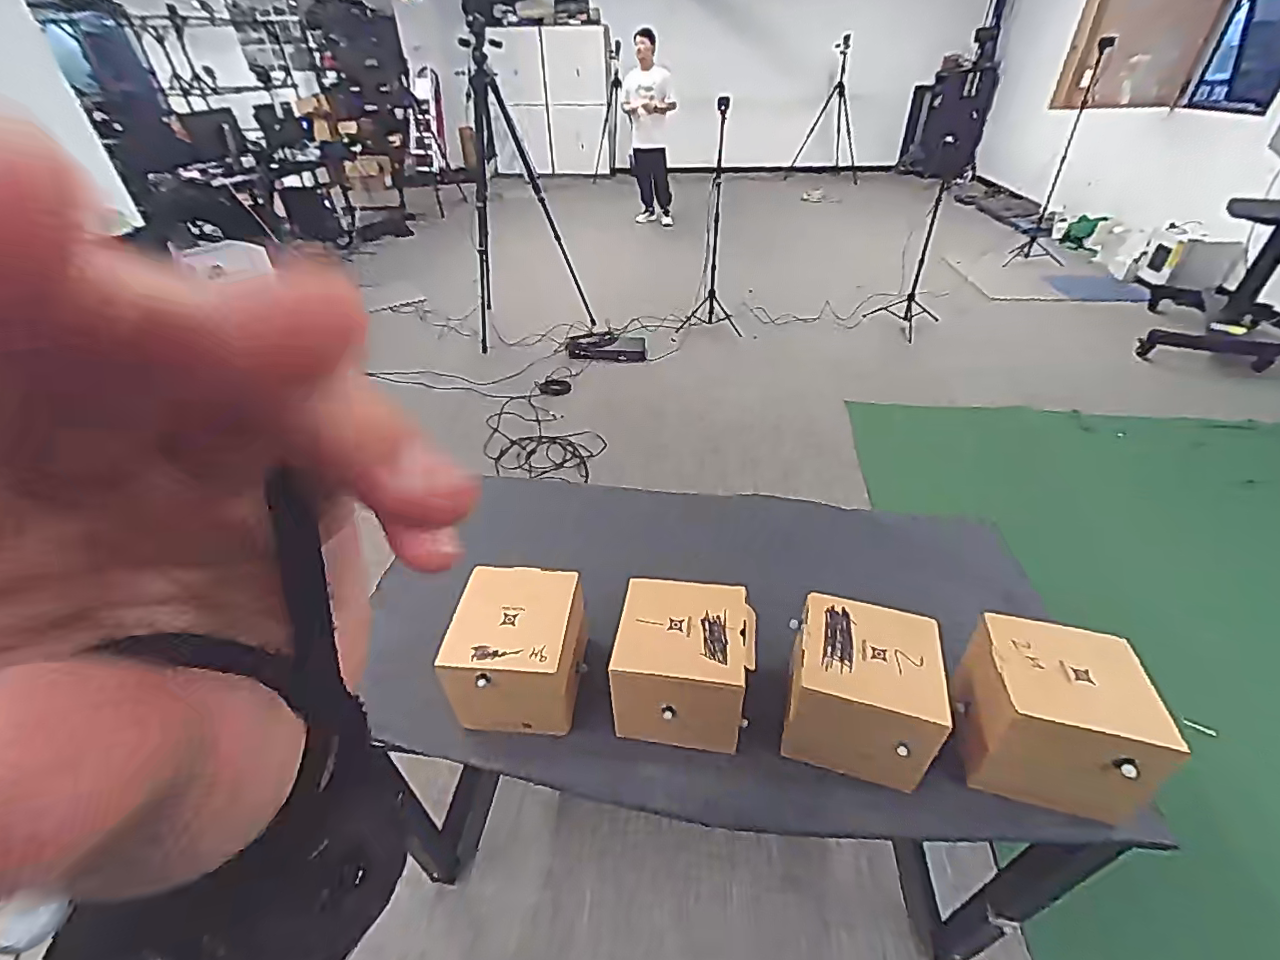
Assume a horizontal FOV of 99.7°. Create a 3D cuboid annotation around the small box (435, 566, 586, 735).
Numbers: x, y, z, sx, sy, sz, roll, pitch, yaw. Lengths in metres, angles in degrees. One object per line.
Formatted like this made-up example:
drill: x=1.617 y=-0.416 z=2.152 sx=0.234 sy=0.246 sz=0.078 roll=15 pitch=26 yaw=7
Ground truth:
small box: x=-0.180 y=0.253 z=0.816 sx=0.168 sy=0.176 sz=0.179 roll=2 pitch=38 yaw=6
